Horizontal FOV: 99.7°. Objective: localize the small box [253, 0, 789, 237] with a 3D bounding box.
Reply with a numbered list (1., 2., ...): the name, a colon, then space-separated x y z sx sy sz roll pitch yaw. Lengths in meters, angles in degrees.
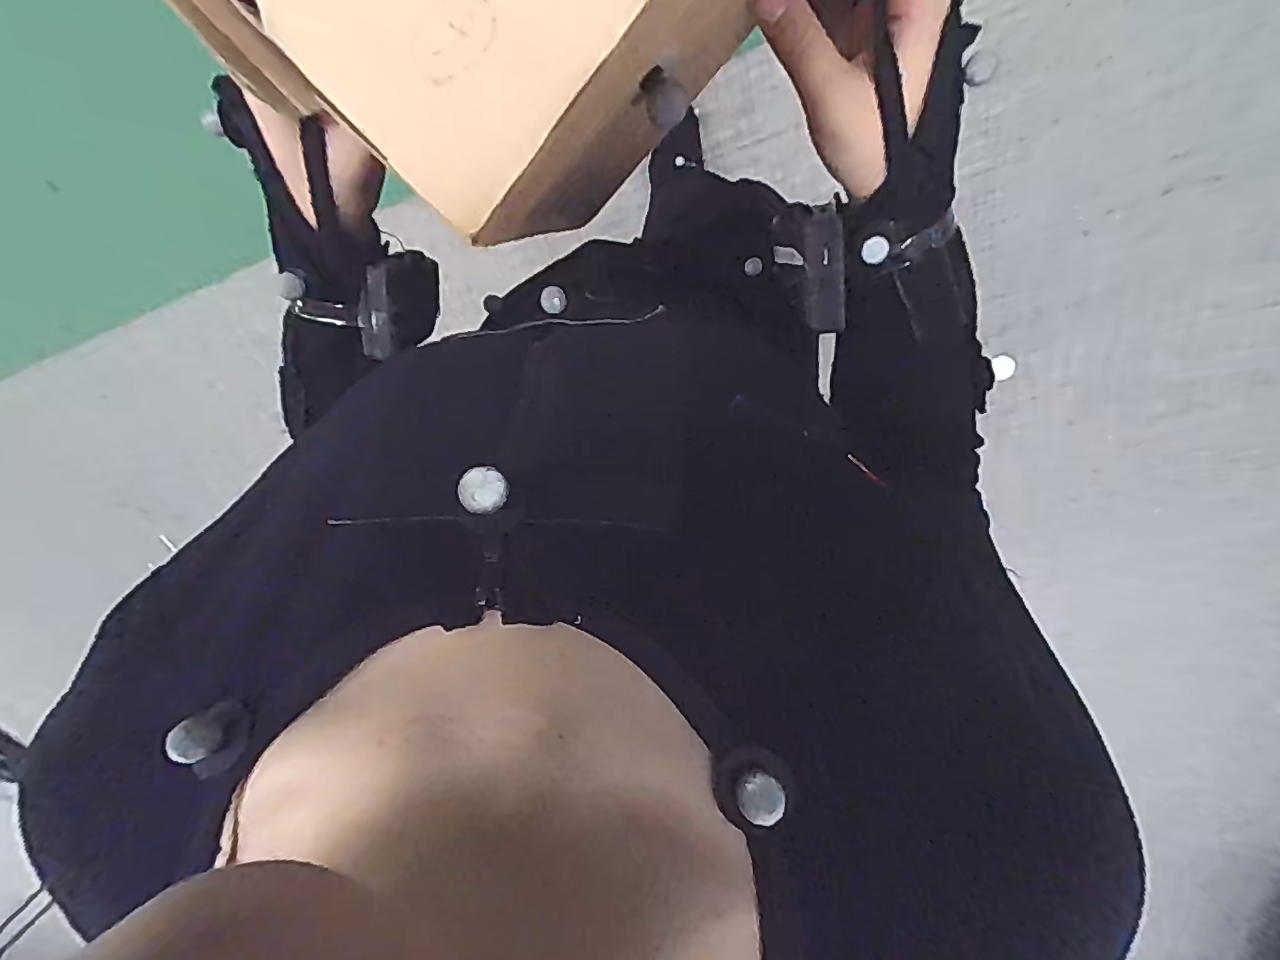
1. small box: -0.034 -0.219 0.198 0.168 0.176 0.179 43 114 -14
